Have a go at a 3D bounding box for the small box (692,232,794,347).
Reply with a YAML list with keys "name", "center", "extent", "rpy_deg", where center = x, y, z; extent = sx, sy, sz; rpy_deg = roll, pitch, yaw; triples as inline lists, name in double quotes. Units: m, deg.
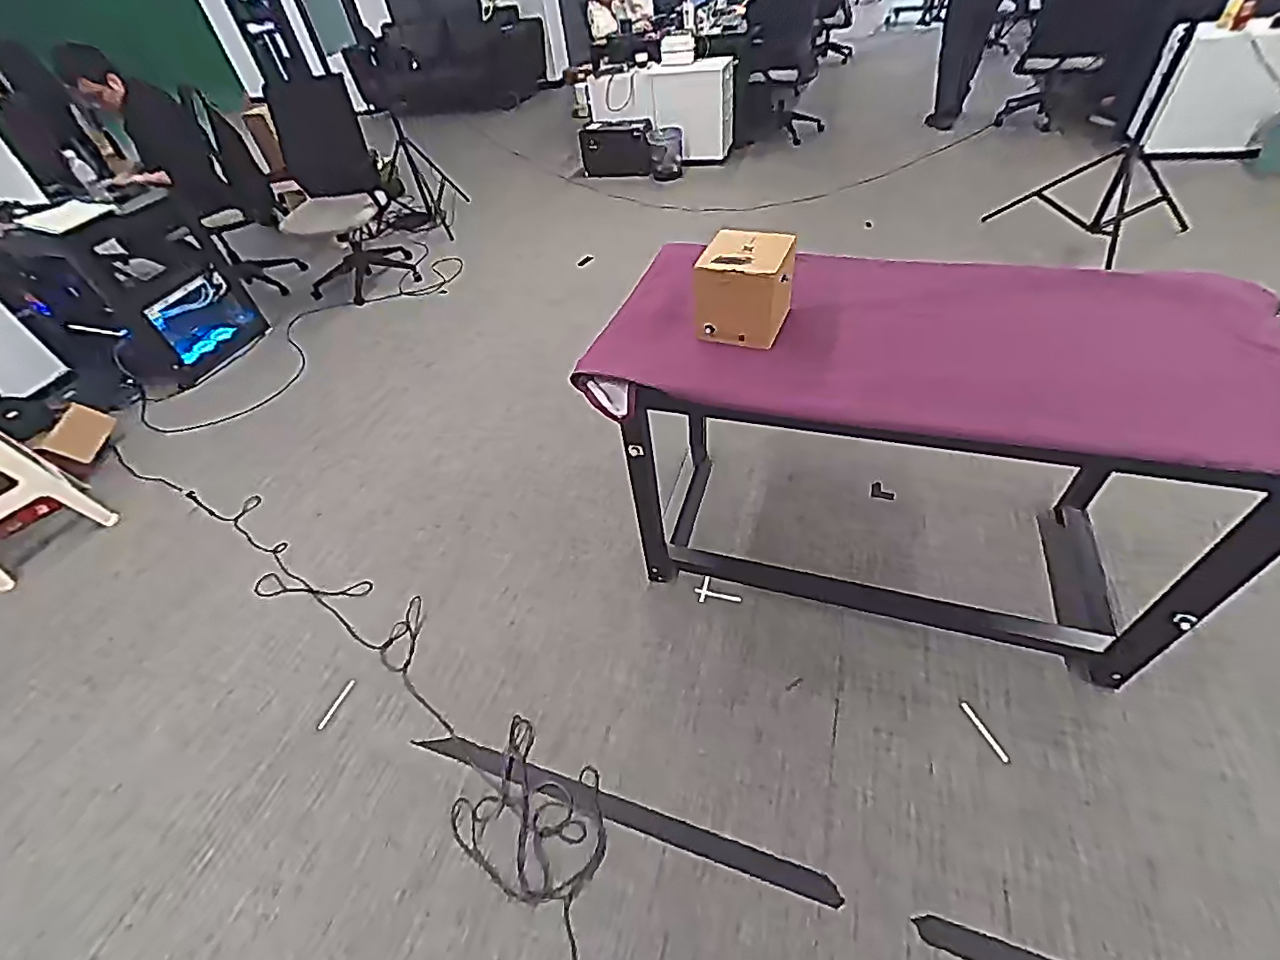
- name: "small box"
  center: [0.220, -0.405, 1.153]
  extent: [0.168, 0.176, 0.179]
  rpy_deg: [15, 50, 21]
